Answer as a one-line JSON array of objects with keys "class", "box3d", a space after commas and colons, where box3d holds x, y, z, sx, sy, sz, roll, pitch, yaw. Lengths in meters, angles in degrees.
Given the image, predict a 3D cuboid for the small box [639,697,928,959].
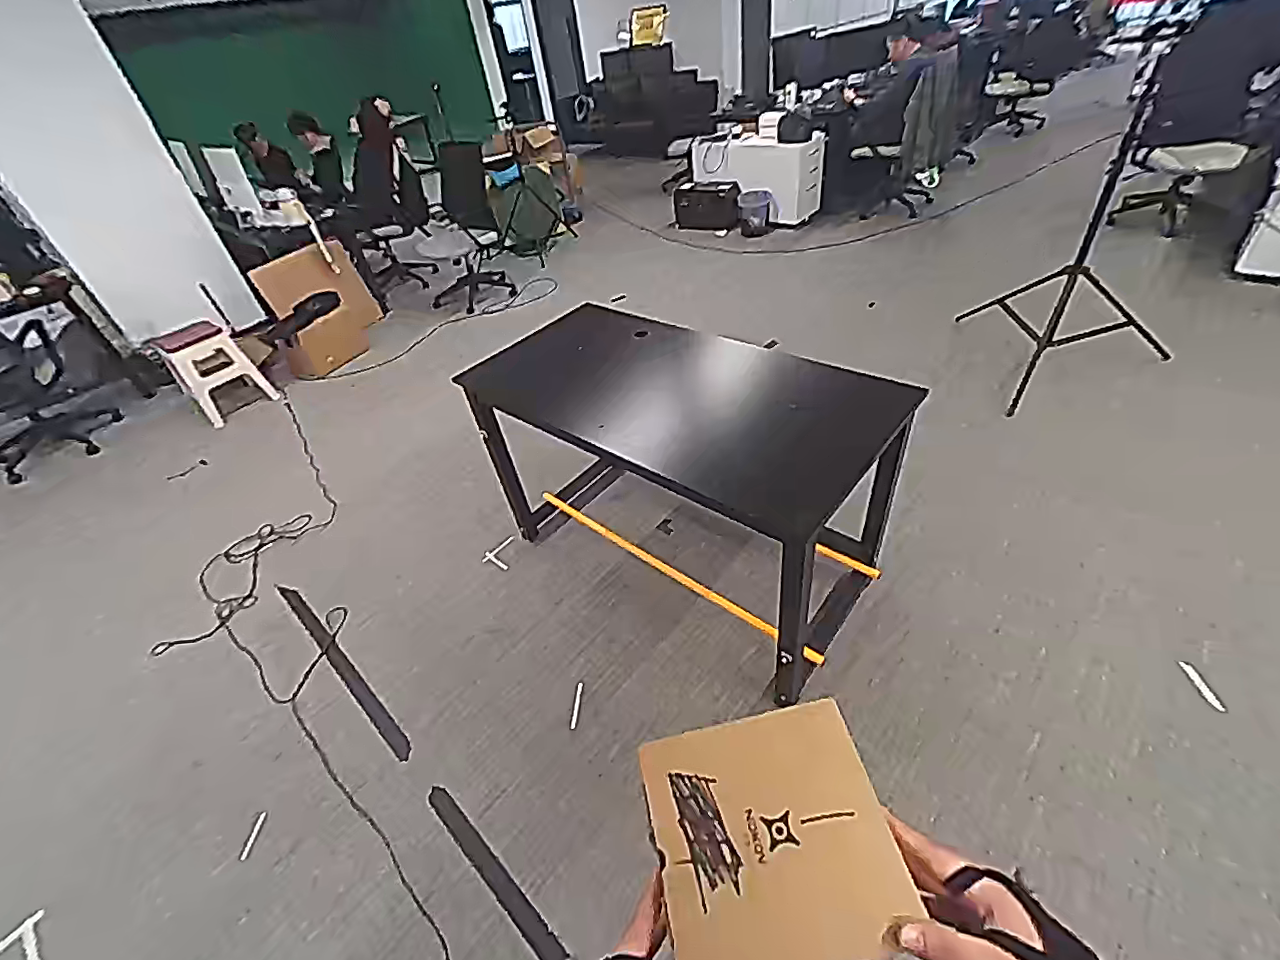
[{"class": "small box", "box3d": [0.108, 0.317, 0.470, 0.179, 0.176, 0.168, -13, 48, -2]}]
